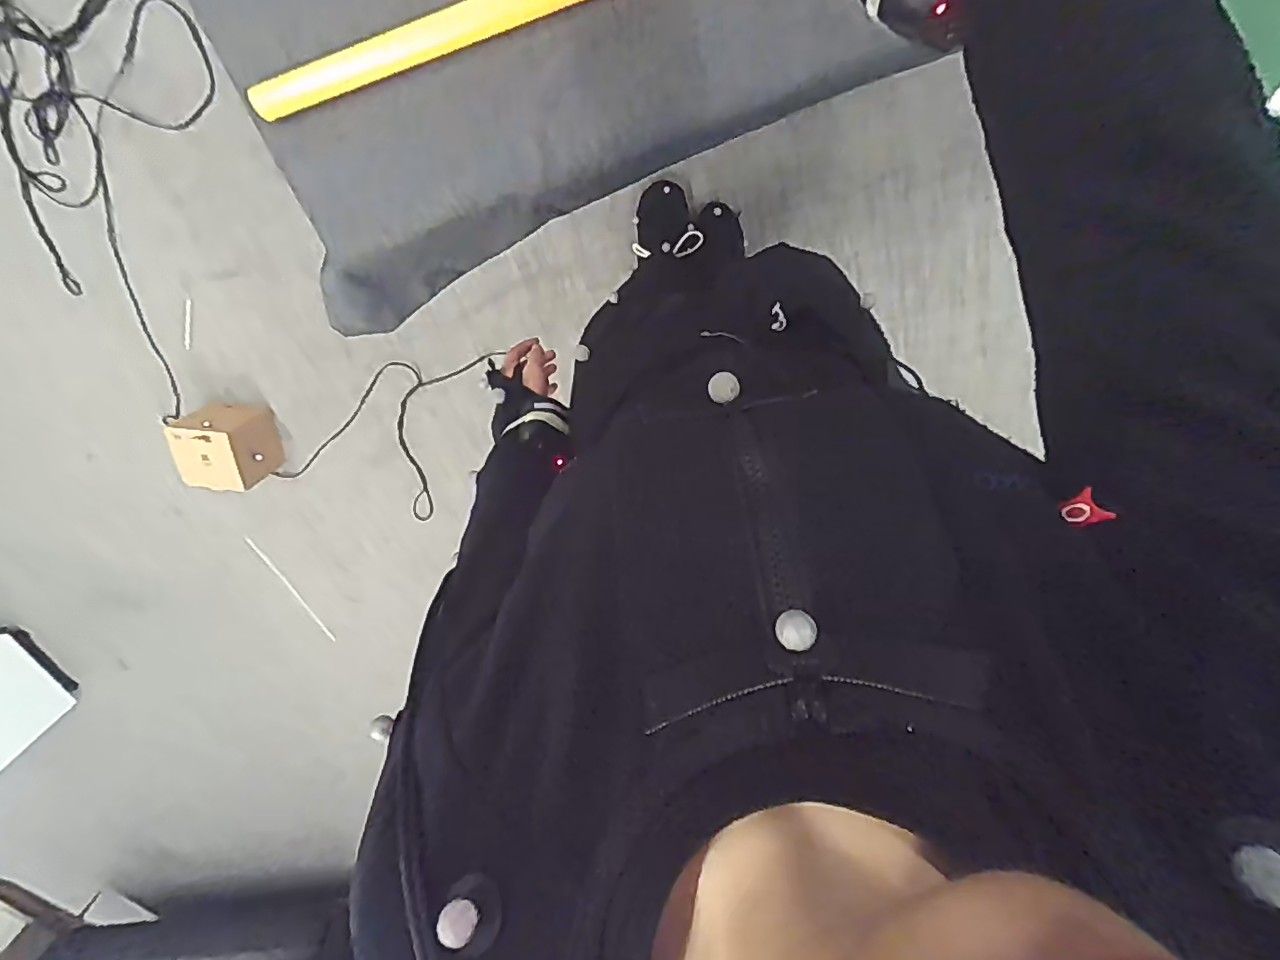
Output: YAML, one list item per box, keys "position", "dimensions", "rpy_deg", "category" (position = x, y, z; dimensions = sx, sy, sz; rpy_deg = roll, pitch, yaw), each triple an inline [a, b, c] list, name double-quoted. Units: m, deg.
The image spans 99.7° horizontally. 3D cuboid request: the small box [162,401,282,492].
- position: [-1.100, -0.093, 1.441]
  dimensions: [0.168, 0.176, 0.179]
  rpy_deg: [6, 120, 2]
  category: "small box"
